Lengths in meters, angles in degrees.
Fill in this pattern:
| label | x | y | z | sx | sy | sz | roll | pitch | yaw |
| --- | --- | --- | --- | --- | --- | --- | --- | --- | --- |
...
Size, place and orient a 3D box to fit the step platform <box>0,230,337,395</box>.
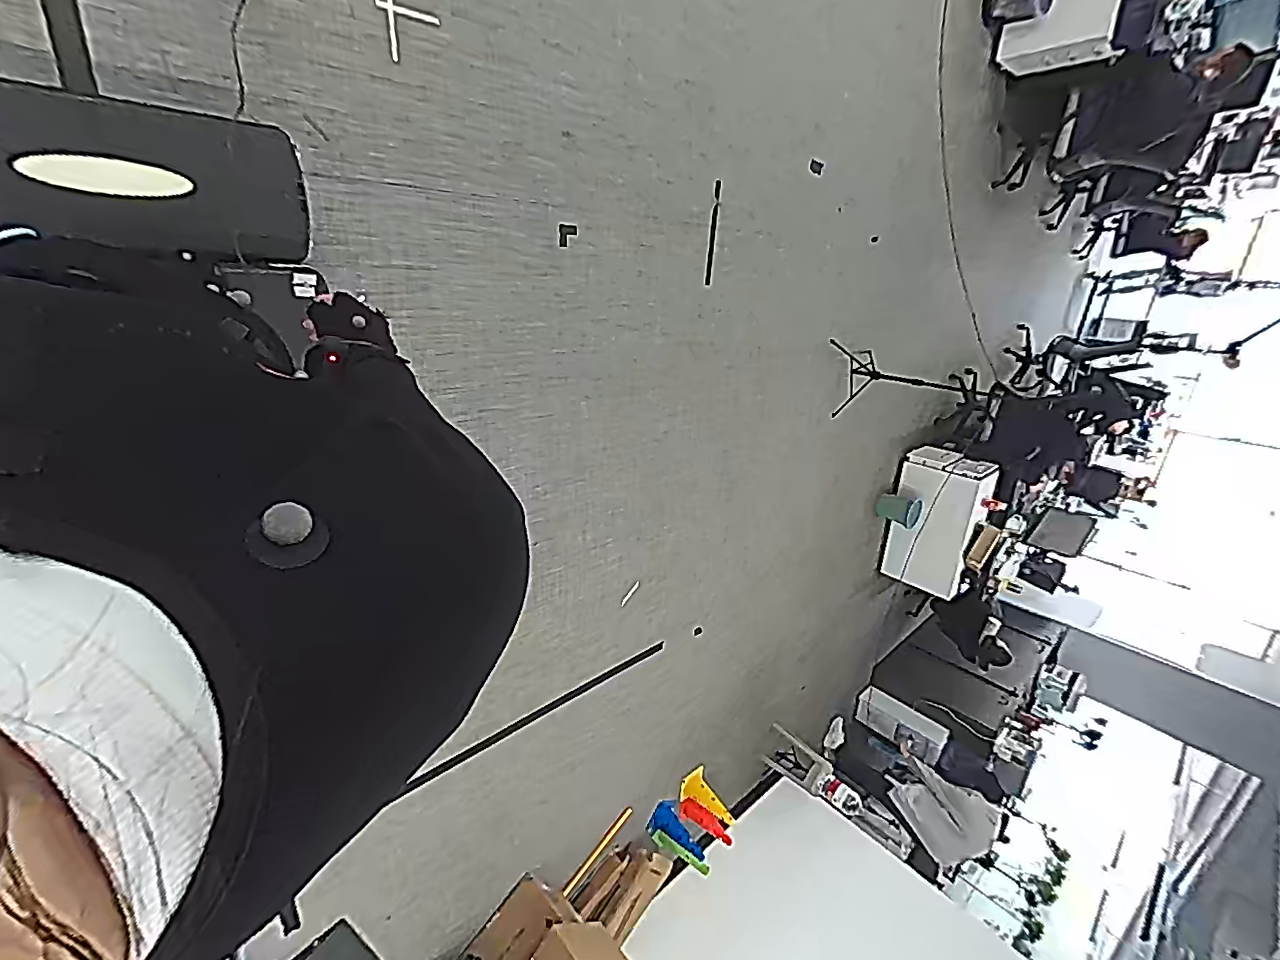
| label | x | y | z | sx | sy | sz | roll | pitch | yaw |
| --- | --- | --- | --- | --- | --- | --- | --- | --- | --- |
| step platform | -1.021 | -0.350 | 1.123 | 0.684 | 0.204 | 0.286 | -16 | 117 | -38 |
